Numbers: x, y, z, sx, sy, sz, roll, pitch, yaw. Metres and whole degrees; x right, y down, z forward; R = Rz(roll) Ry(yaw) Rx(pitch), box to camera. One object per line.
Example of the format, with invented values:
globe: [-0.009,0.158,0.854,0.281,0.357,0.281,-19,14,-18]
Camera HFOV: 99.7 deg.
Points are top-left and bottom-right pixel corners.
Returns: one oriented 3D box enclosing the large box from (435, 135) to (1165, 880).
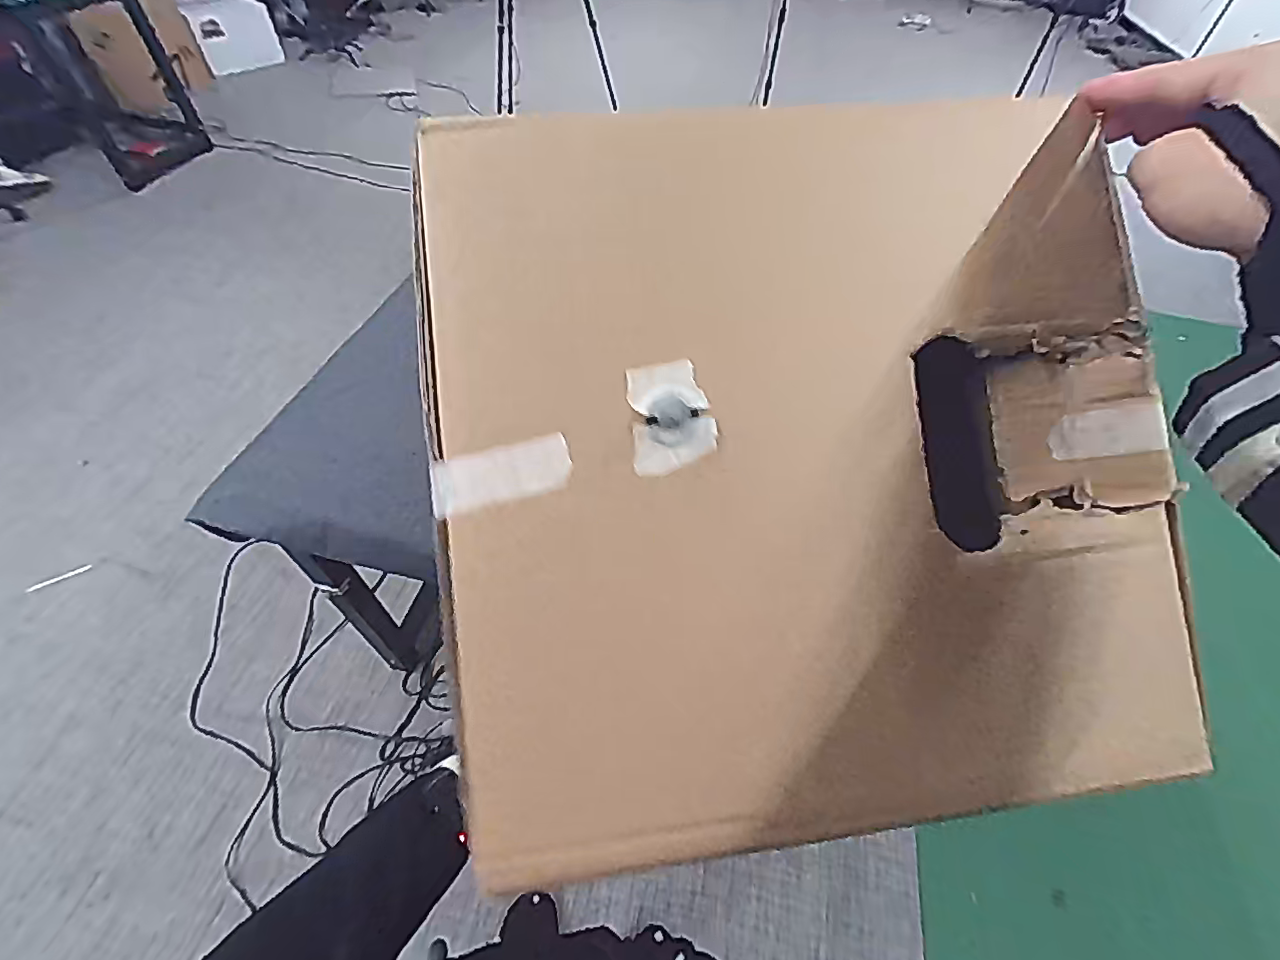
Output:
large box: [0.054,0.007,0.432,0.320,0.408,0.320,-7,86,-8]
